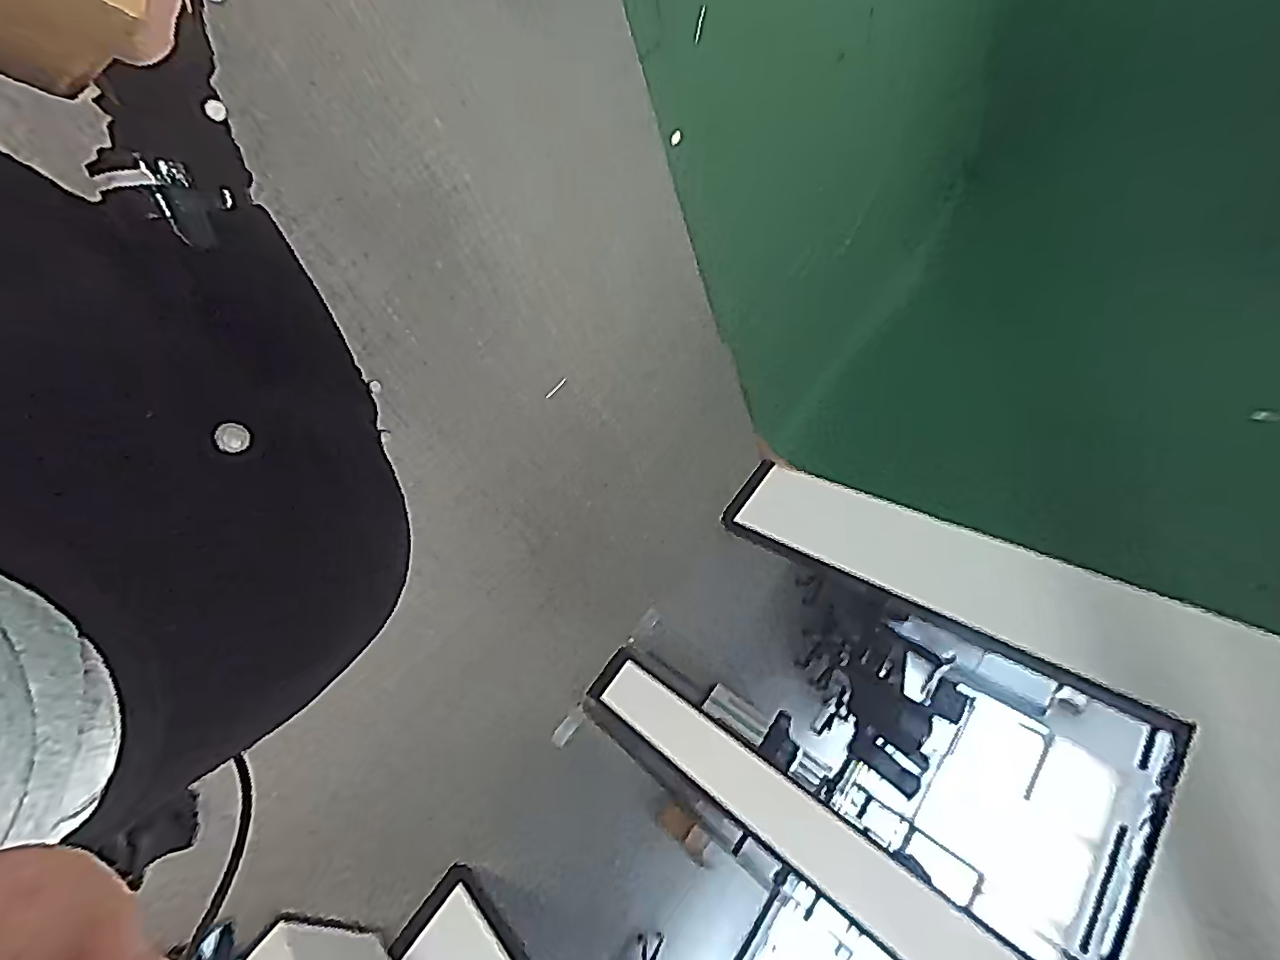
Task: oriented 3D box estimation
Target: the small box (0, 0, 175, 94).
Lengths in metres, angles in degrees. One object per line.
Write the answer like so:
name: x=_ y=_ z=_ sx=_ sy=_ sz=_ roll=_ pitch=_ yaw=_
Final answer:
small box: x=-0.316 y=-0.291 z=0.209 sx=0.179 sy=0.176 sz=0.168 roll=-5 pitch=103 yaw=-54
